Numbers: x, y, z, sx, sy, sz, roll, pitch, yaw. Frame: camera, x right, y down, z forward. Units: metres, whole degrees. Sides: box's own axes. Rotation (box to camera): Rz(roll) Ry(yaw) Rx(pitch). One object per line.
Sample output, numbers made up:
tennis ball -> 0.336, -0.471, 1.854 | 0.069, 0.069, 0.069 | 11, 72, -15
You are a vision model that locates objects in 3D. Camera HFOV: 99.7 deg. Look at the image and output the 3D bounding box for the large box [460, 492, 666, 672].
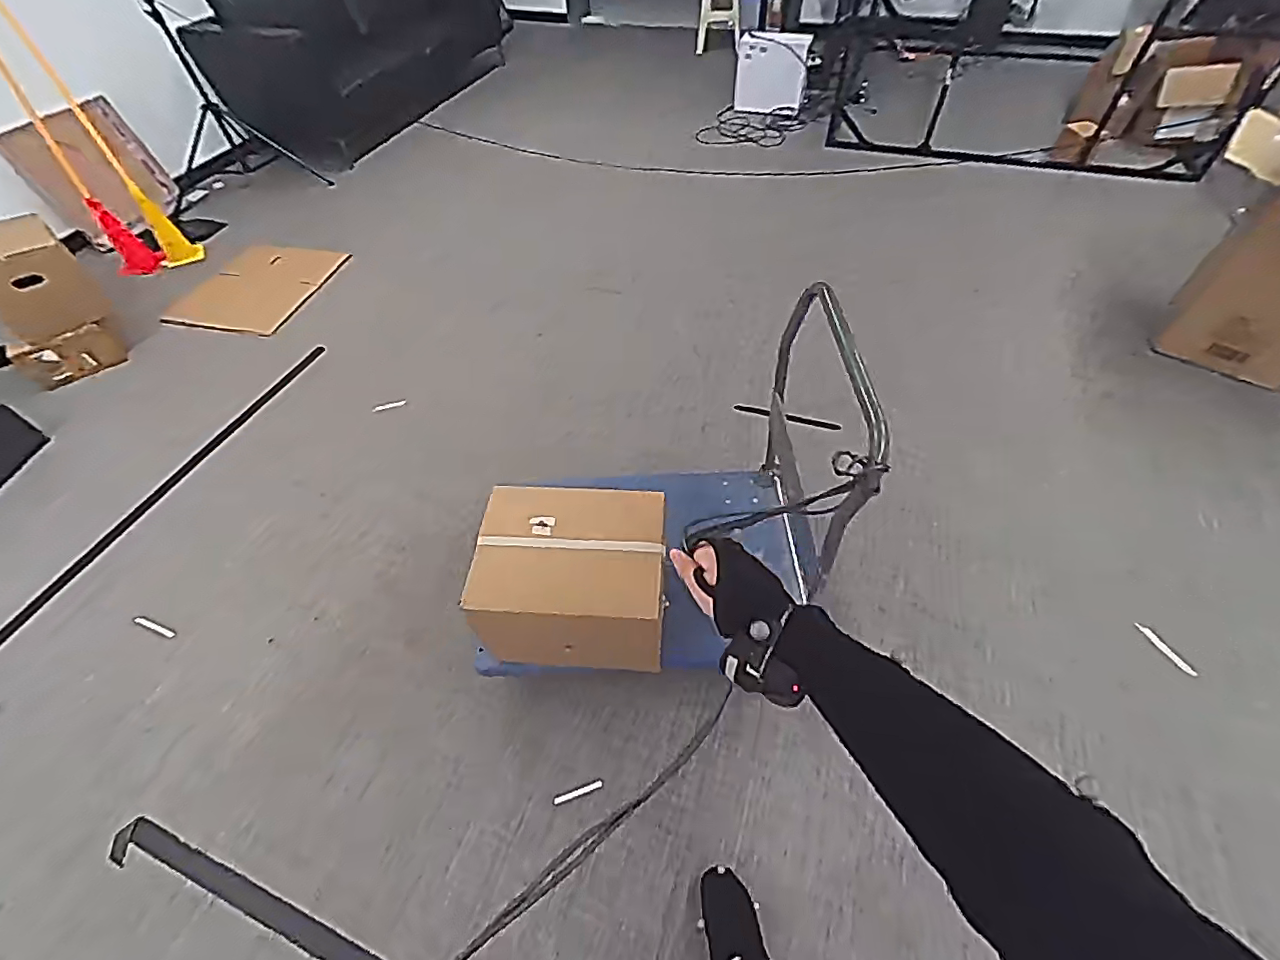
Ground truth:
large box -> -0.143, 0.243, 1.267 | 0.408, 0.320, 0.320 | 2, 51, 5
